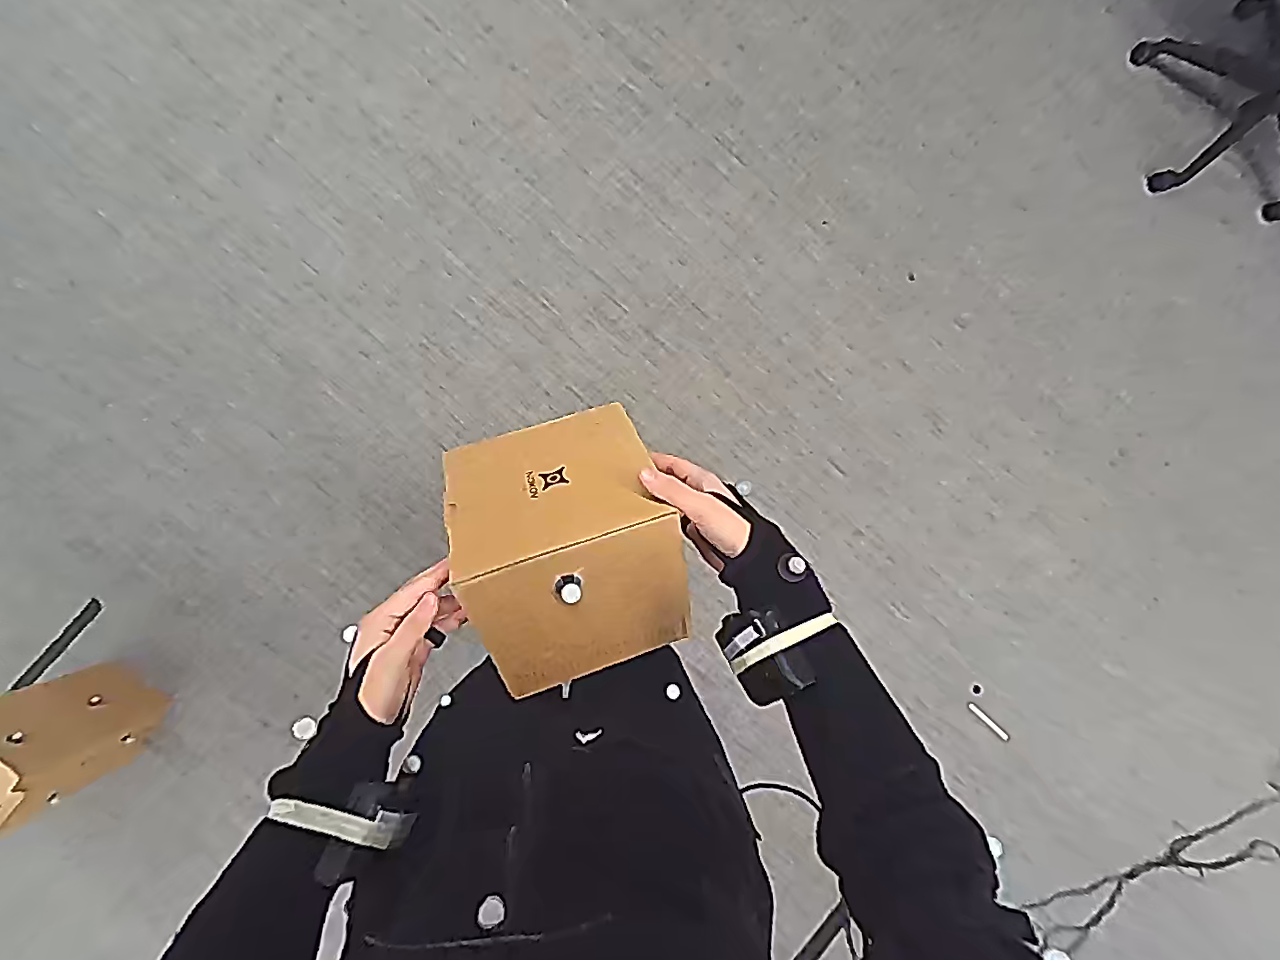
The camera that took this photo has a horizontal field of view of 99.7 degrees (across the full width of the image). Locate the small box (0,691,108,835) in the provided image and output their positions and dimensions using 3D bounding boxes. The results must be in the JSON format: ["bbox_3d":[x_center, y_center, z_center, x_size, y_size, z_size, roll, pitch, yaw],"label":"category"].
[{"bbox_3d":[-1.154,0.518,0.985,0.179,0.176,0.168,37,85,-3],"label":"small box"}]

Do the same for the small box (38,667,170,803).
[{"bbox_3d":[-1.173,0.528,1.148,0.179,0.176,0.168,36,84,-2],"label":"small box"}]

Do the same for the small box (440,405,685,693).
[{"bbox_3d":[-0.065,0.062,0.499,0.179,0.168,0.176,-19,132,-9],"label":"small box"}]
